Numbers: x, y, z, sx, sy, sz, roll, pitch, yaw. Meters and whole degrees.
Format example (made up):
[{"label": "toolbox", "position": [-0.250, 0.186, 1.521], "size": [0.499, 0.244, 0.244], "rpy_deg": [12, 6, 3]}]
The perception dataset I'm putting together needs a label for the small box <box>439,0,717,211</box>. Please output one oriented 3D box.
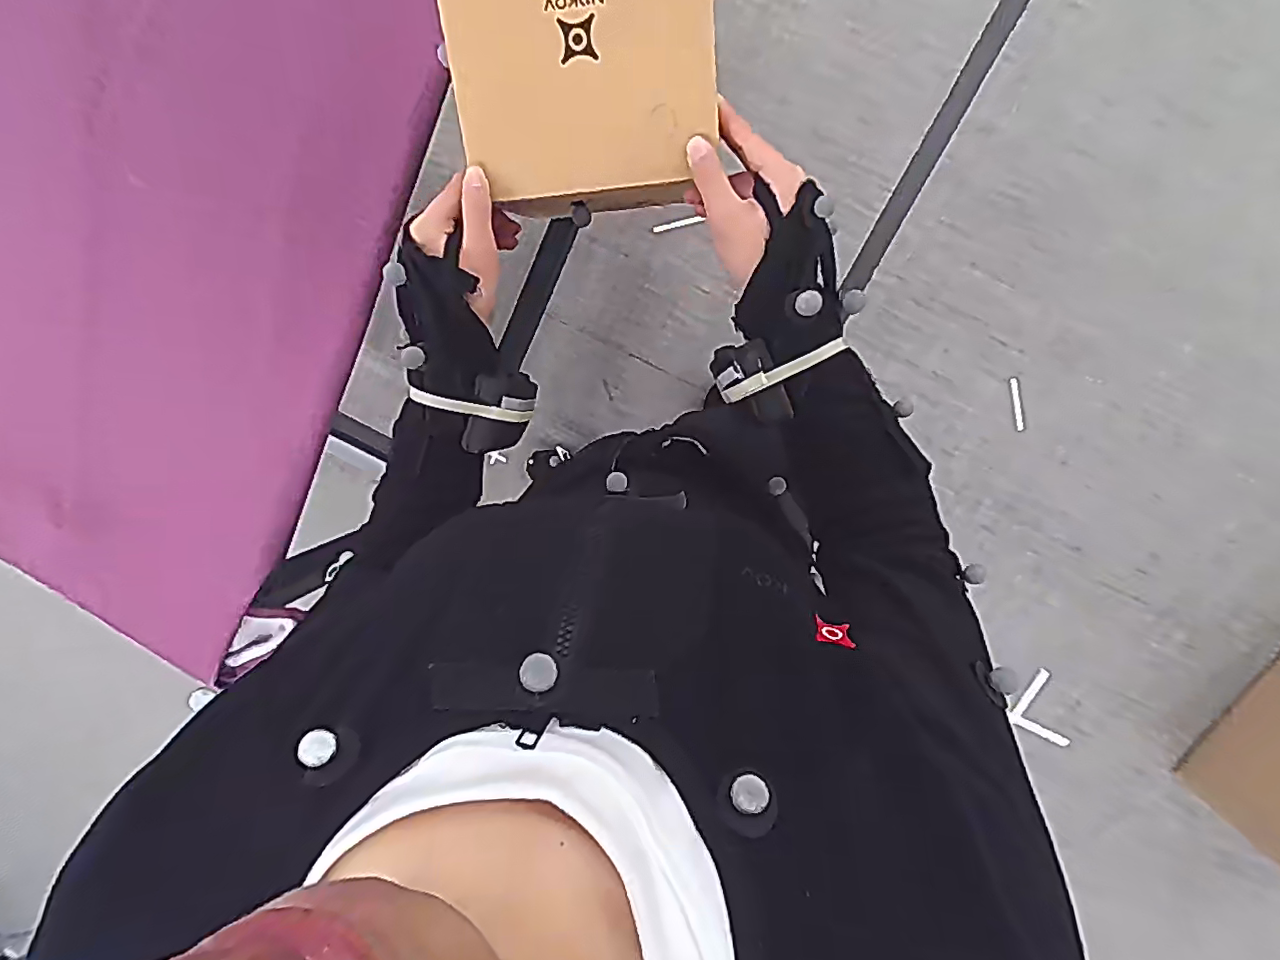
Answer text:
[{"label": "small box", "position": [-0.031, -0.302, 0.395], "size": [0.168, 0.176, 0.179], "rpy_deg": [-3, 111, 6]}]
